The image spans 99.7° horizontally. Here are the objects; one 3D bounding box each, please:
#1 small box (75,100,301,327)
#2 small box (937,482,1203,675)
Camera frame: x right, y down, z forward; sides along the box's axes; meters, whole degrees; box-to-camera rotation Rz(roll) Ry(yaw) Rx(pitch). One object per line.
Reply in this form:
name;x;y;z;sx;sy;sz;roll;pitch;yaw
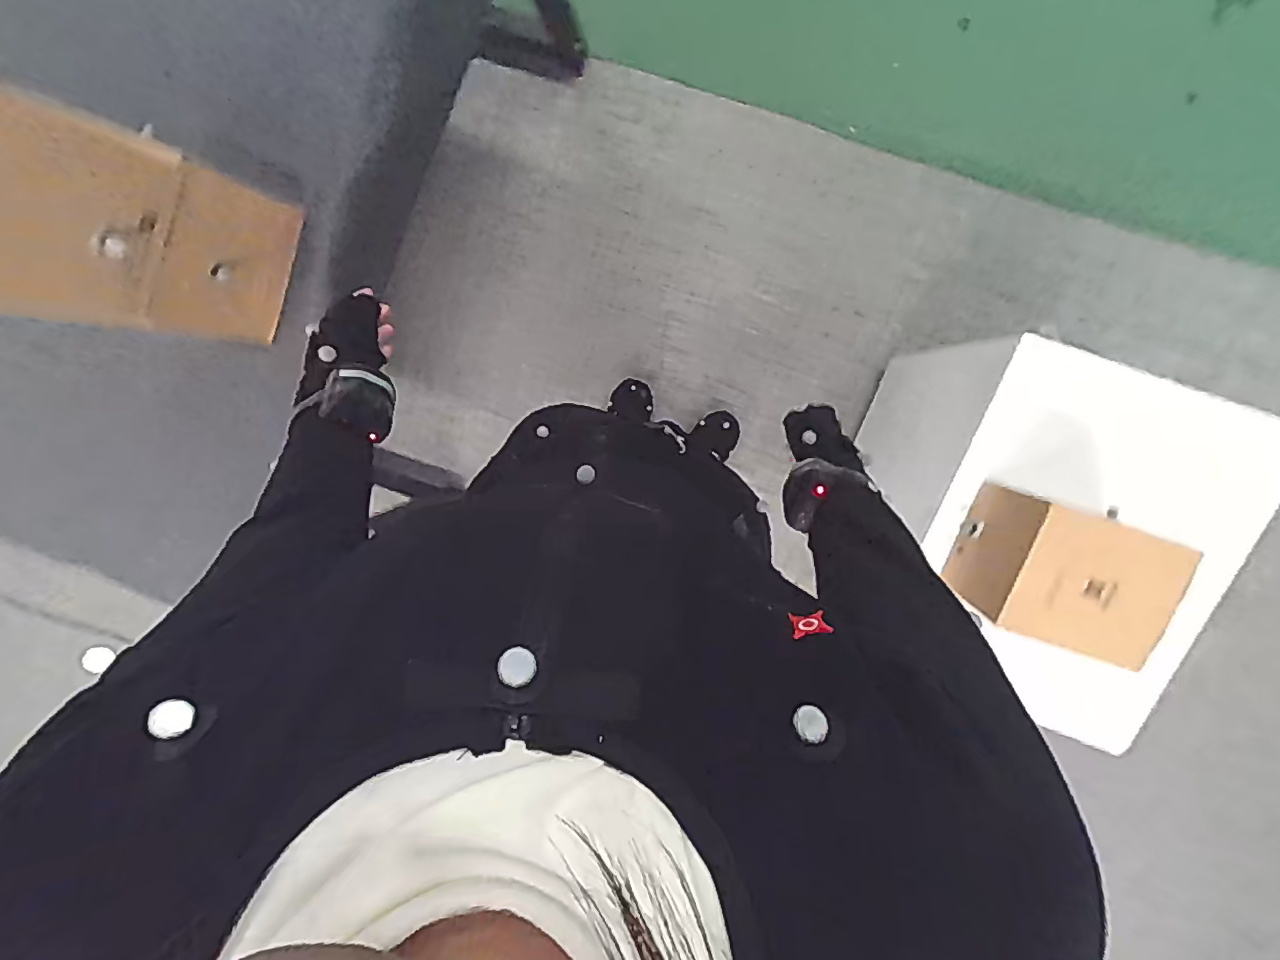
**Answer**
small box;-0.535;-0.291;0.625;0.168;0.176;0.179;24;103;4
small box;0.526;0.112;0.694;0.179;0.176;0.168;19;101;5
